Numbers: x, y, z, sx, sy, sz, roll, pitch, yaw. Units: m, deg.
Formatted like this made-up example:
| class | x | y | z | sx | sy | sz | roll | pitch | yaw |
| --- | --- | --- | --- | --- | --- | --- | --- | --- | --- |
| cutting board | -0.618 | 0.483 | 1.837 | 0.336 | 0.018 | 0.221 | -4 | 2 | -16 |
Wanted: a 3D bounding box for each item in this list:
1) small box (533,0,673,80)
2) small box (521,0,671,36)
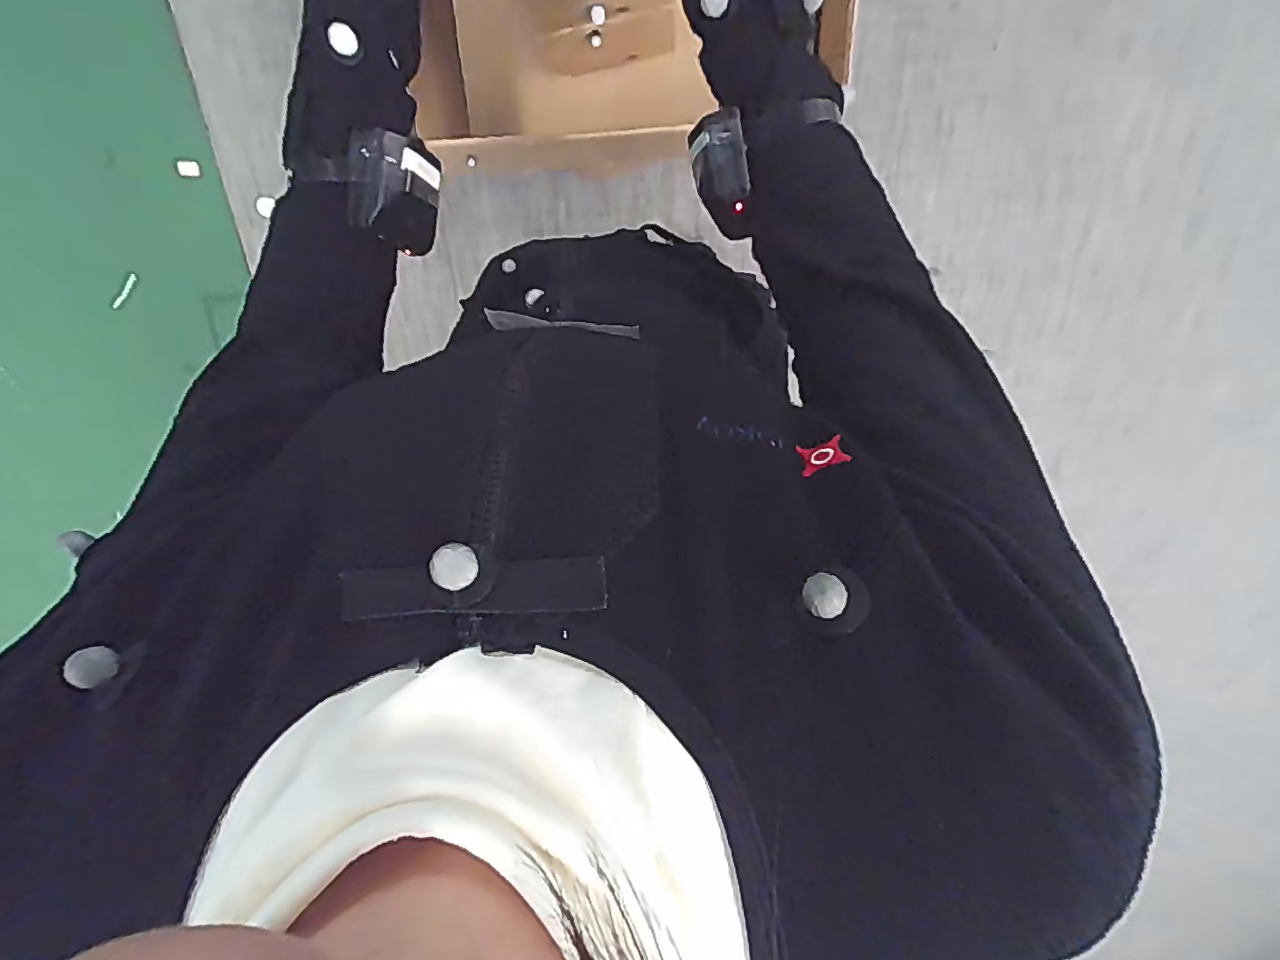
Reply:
| class | x | y | z | sx | sy | sz | roll | pitch | yaw |
| --- | --- | --- | --- | --- | --- | --- | --- | --- | --- |
| small box | -0.050 | -0.641 | 0.675 | 0.168 | 0.176 | 0.179 | -7 | 112 | 8 |
| small box | -0.059 | -0.578 | 0.524 | 0.168 | 0.176 | 0.179 | -6 | 114 | 7 |
